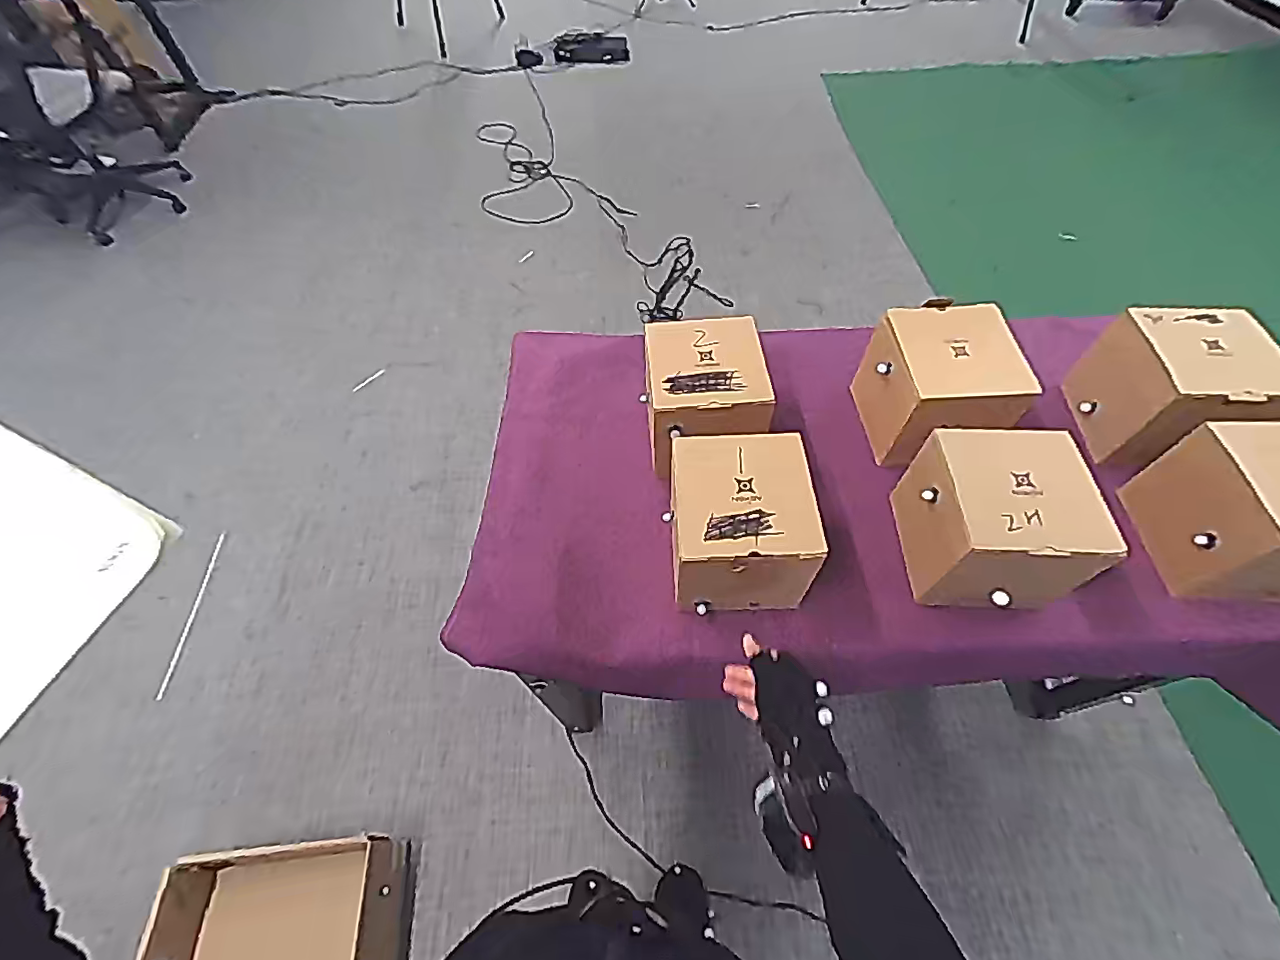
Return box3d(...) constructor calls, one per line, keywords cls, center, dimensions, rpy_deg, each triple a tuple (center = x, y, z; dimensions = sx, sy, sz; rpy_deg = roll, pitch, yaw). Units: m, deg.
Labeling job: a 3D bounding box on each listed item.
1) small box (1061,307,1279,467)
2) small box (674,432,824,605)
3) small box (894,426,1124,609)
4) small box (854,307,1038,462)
box3d(cls="small box", center=(0.790, -0.134, 0.812), dimensions=(0.168, 0.176, 0.179), rpy_deg=(3, 58, 4))
box3d(cls="small box", center=(0.129, 0.057, 0.711), dimensions=(0.168, 0.176, 0.179), rpy_deg=(-1, 56, 2))
box3d(cls="small box", center=(0.452, 0.051, 0.703), dimensions=(0.168, 0.176, 0.179), rpy_deg=(2, 57, 4))
box3d(cls="small box", center=(0.450, -0.138, 0.832), dimensions=(0.168, 0.176, 0.179), rpy_deg=(-3, 56, 0))
